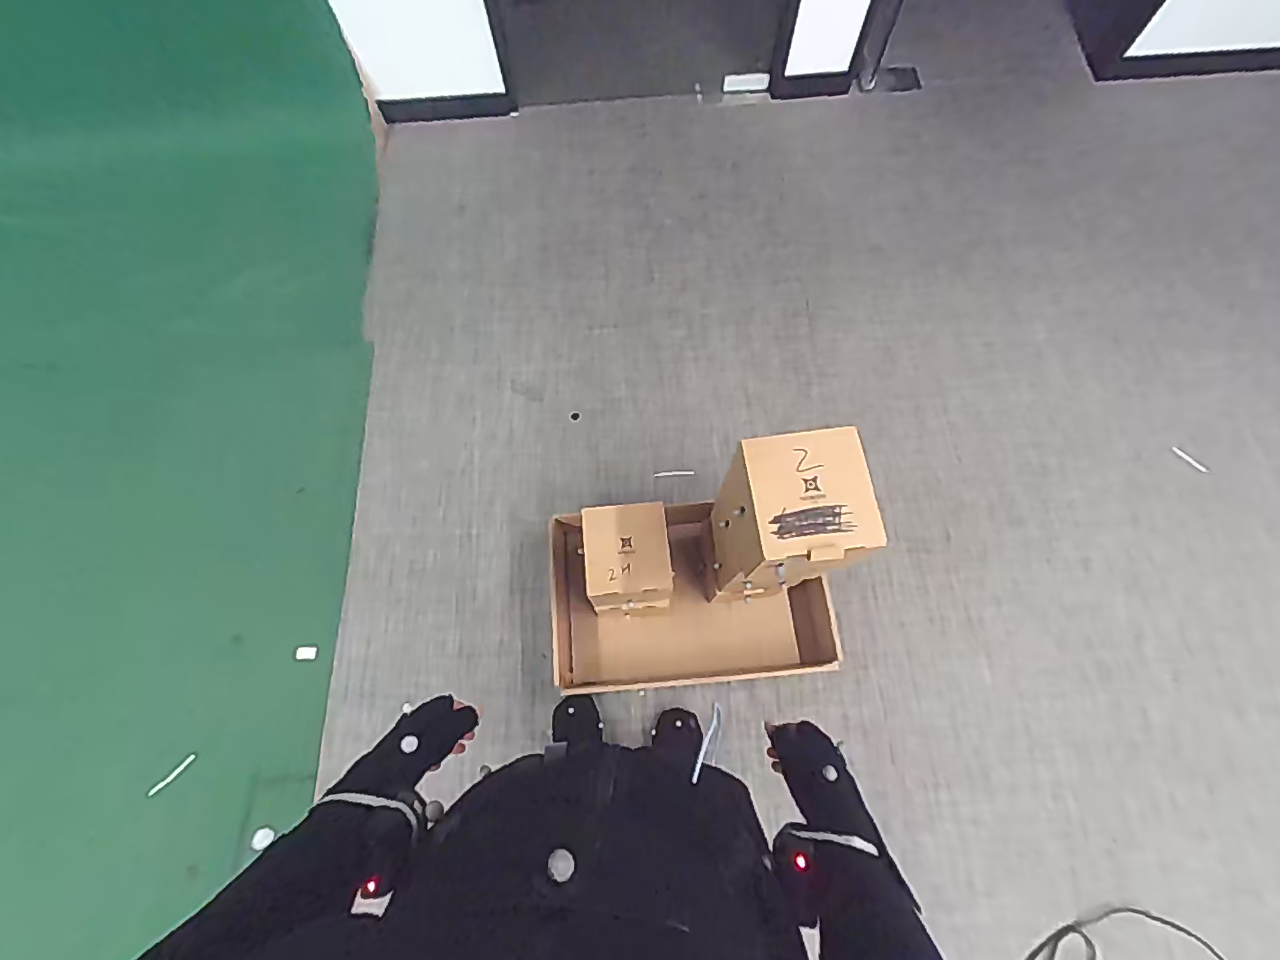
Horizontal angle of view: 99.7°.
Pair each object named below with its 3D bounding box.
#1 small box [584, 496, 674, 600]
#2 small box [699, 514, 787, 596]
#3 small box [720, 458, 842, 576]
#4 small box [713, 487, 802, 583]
[{"bbox_3d":[-0.024,0.145,1.117,0.168,0.176,0.179,-5,71,-2],"label":"small box"},{"bbox_3d":[0.237,0.174,1.278,0.168,0.176,0.179,-9,71,0],"label":"small box"},{"bbox_3d":[0.240,0.074,0.965,0.168,0.176,0.179,-4,71,0],"label":"small box"},{"bbox_3d":[0.246,0.114,1.107,0.168,0.176,0.179,-5,71,0],"label":"small box"}]
